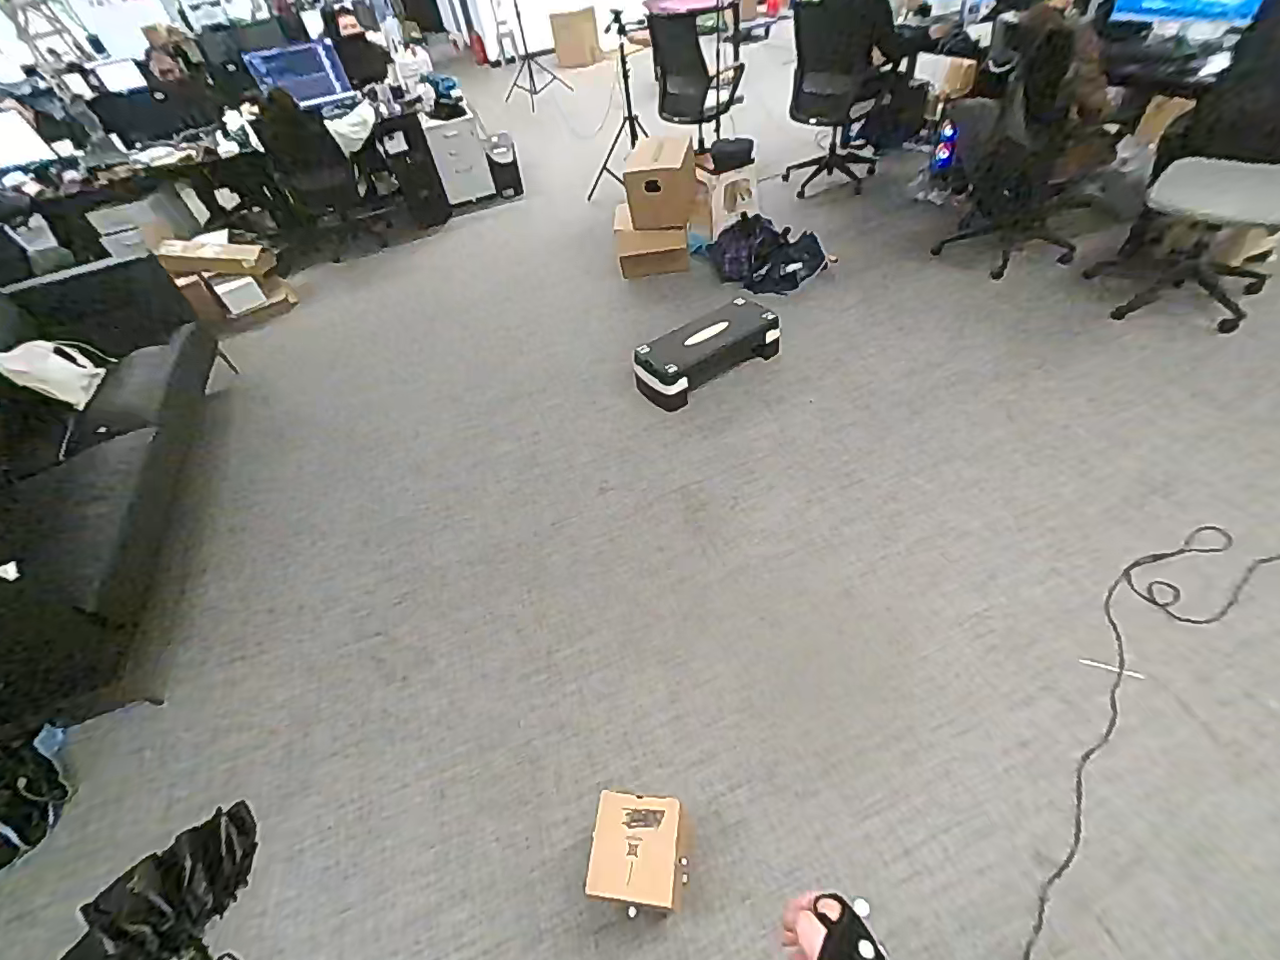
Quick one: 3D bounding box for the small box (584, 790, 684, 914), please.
[{"bbox_3d":[-0.002,0.761,1.105,0.168,0.176,0.179,0,49,12],"label":"small box"}]
